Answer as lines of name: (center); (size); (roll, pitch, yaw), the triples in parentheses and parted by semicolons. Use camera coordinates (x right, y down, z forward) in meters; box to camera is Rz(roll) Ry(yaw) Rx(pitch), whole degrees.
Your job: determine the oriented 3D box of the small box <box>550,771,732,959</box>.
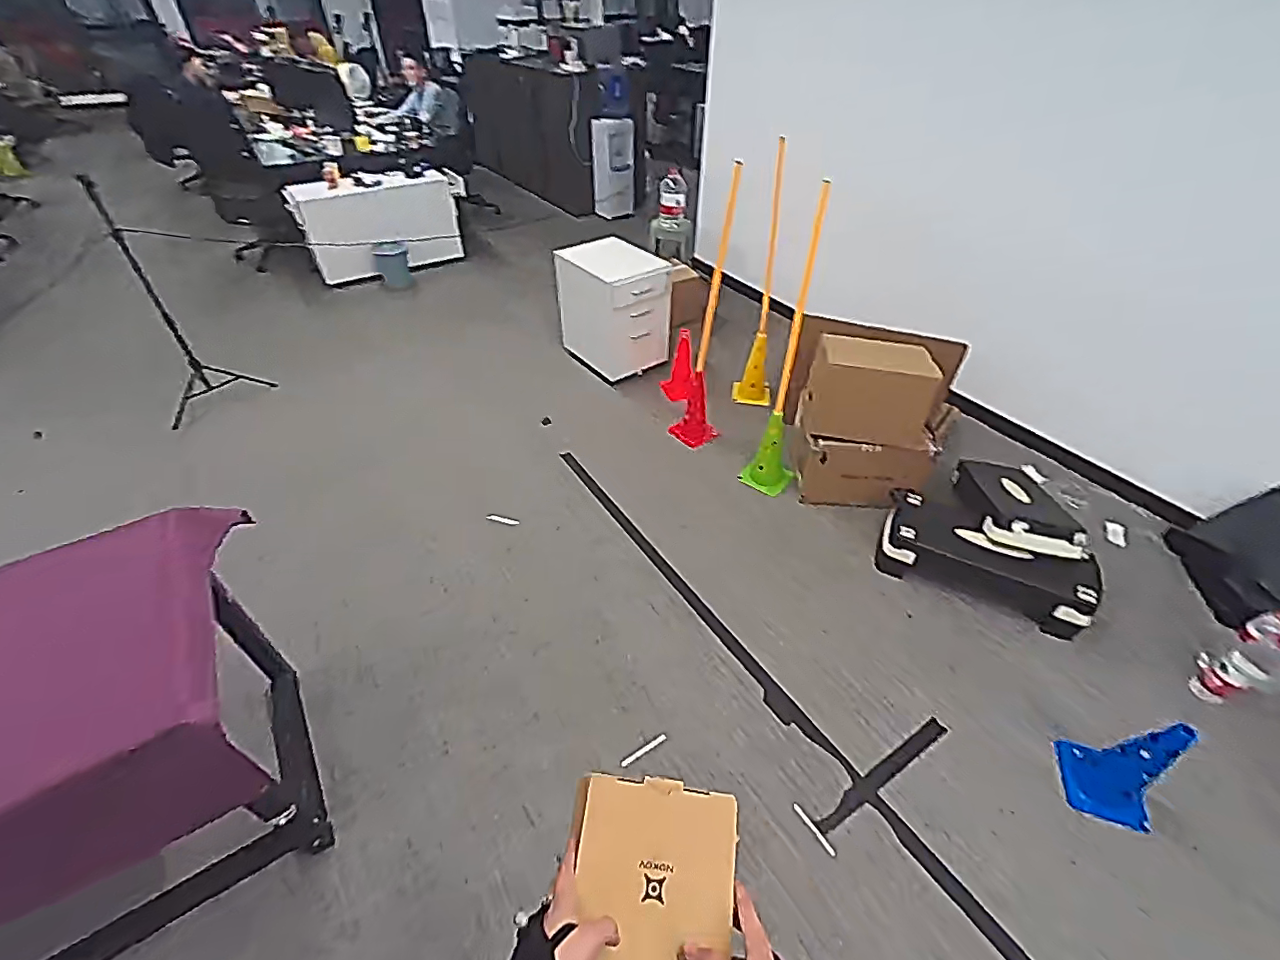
small box: (-0.003, 0.438, 0.605); (0.168, 0.176, 0.179); (10, 58, -4)
